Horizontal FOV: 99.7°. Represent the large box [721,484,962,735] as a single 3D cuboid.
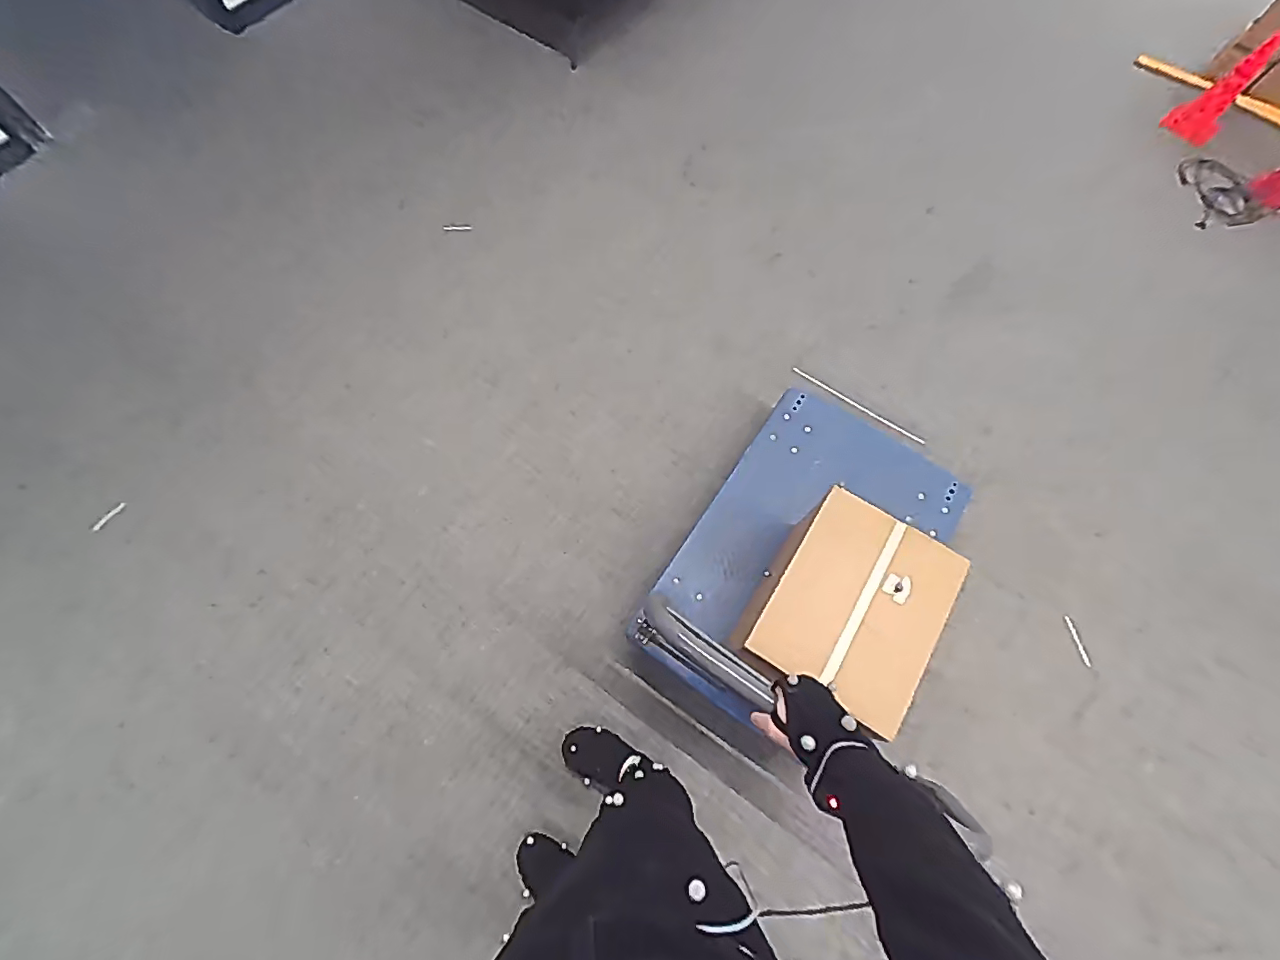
[{"bbox_3d":[0.425,0.293,1.208,0.320,0.320,0.408,32,71,10],"label":"large box"}]
